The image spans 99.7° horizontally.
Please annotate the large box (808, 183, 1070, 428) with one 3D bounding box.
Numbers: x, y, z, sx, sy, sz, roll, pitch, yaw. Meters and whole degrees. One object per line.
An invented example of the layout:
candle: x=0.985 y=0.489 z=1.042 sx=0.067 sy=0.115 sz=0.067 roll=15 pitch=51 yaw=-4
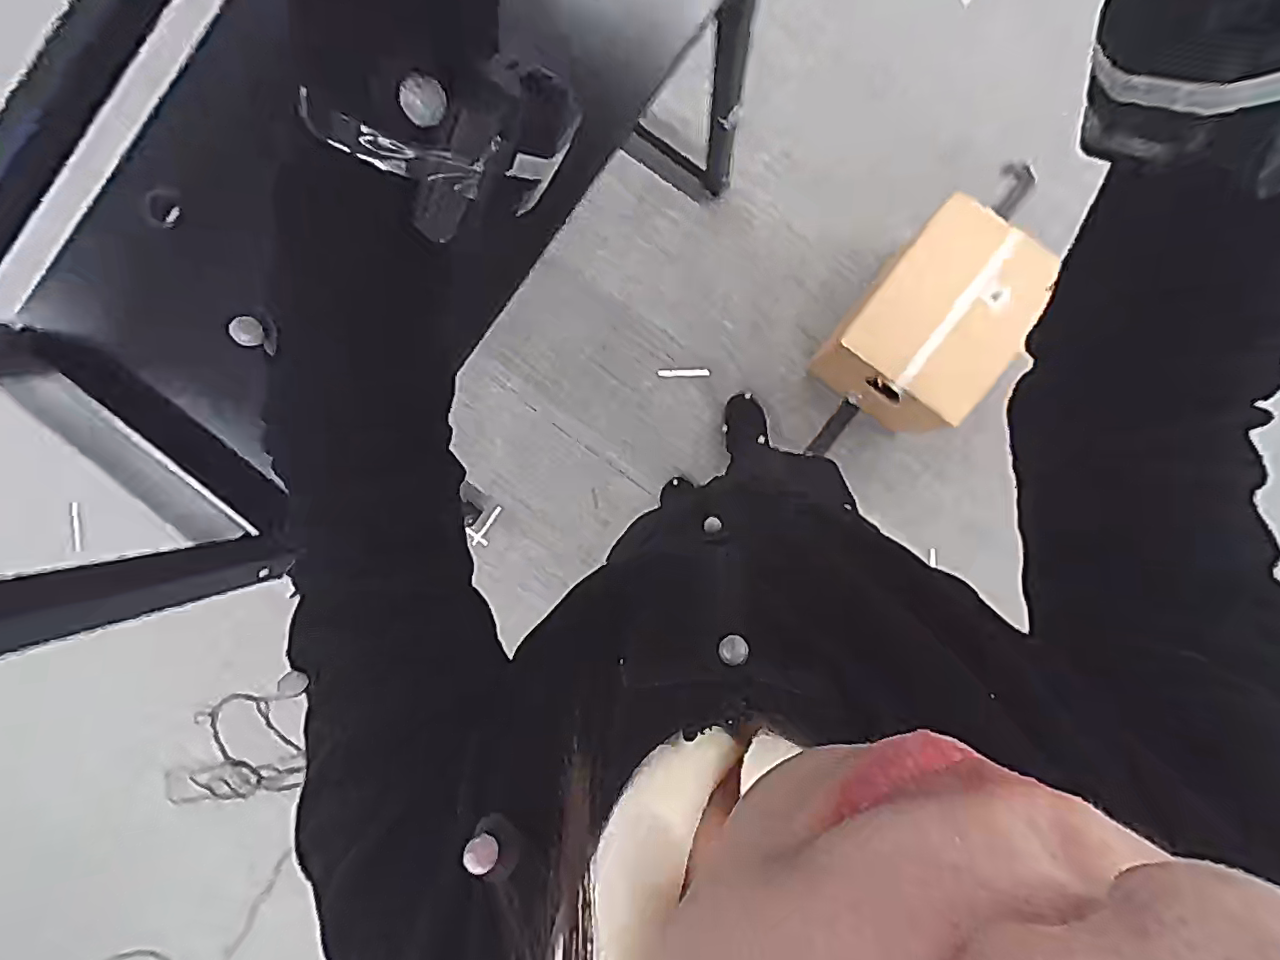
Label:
large box: x=0.668 y=-0.378 z=1.285 sx=0.320 sy=0.320 sz=0.408 roll=36 pitch=93 yaw=1
